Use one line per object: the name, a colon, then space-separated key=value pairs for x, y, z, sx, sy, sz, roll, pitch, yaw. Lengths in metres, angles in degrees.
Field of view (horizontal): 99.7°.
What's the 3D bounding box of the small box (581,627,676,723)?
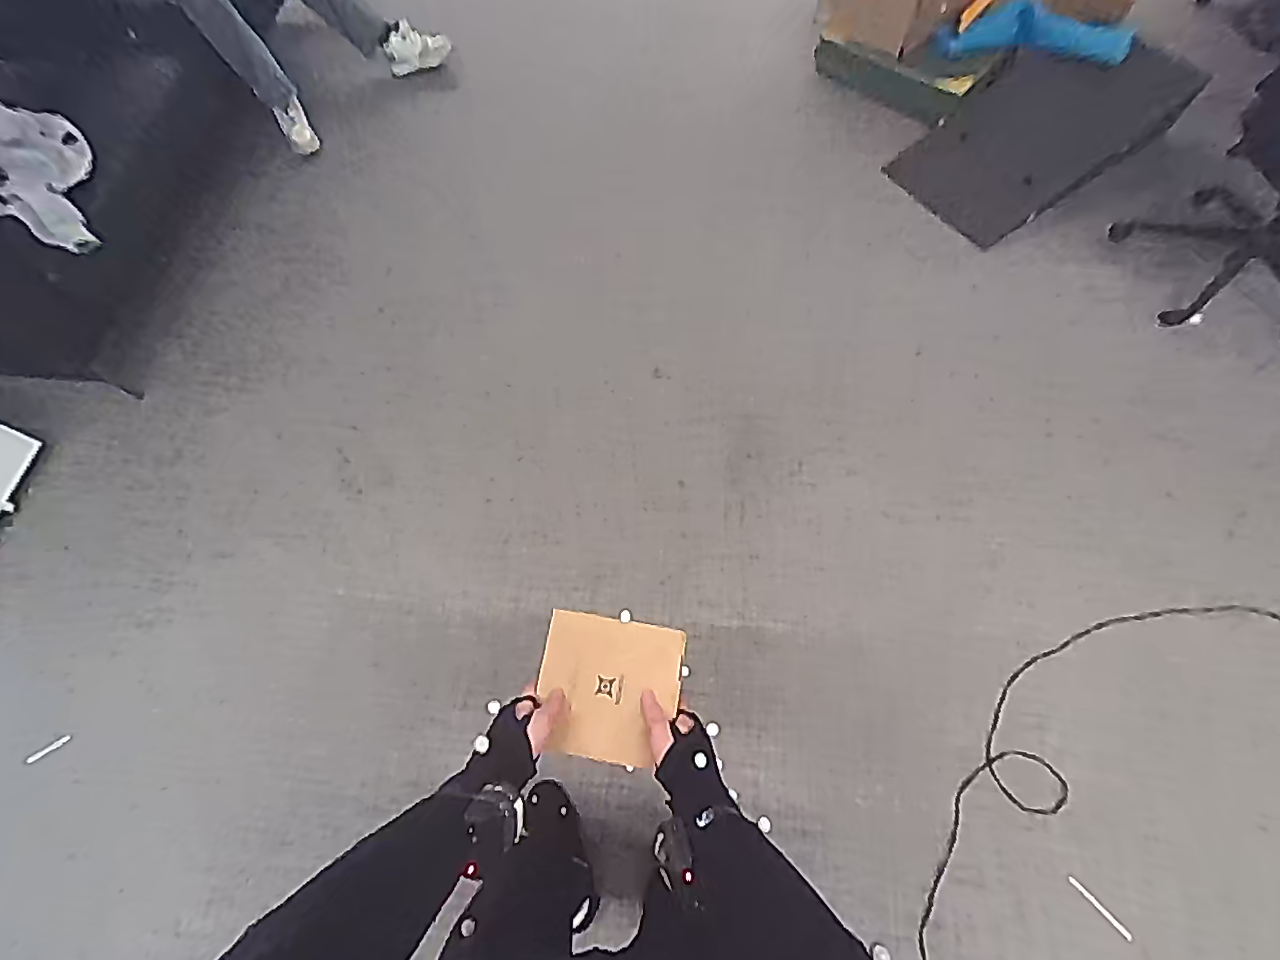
small box: x=-0.022 y=0.461 z=1.263 sx=0.179 sy=0.176 sz=0.168 roll=-17 pitch=66 yaw=-3
